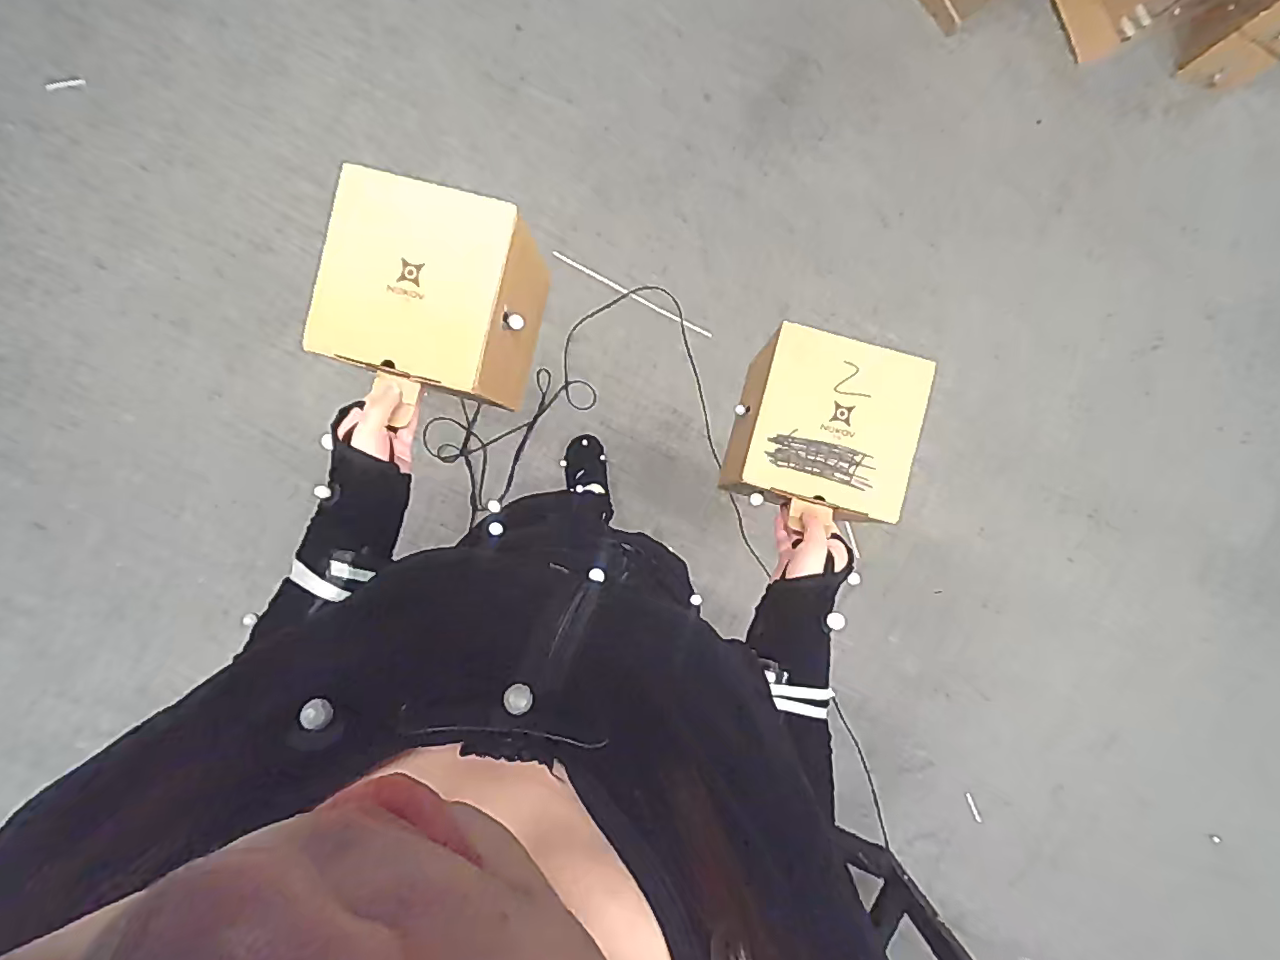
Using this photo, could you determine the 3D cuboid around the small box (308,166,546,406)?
[{"bbox_3d":[-0.208,-0.189,0.579,0.168,0.176,0.179,15,93,1],"label":"small box"}]
